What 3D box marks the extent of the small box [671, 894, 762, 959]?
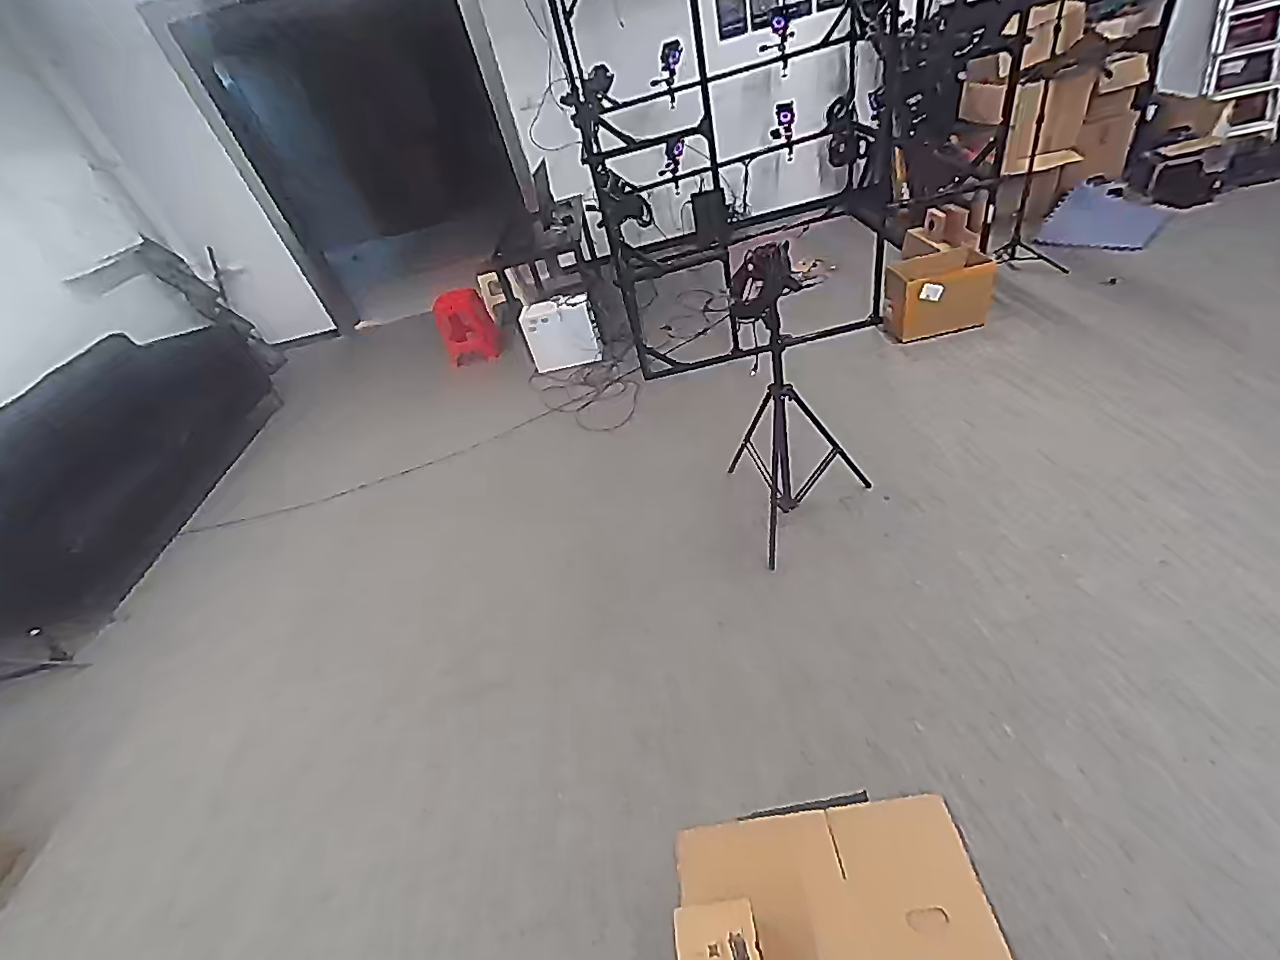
[{"bbox_3d":[0.174,1.035,1.183,0.179,0.176,0.168,-13,39,7],"label":"small box"}]
